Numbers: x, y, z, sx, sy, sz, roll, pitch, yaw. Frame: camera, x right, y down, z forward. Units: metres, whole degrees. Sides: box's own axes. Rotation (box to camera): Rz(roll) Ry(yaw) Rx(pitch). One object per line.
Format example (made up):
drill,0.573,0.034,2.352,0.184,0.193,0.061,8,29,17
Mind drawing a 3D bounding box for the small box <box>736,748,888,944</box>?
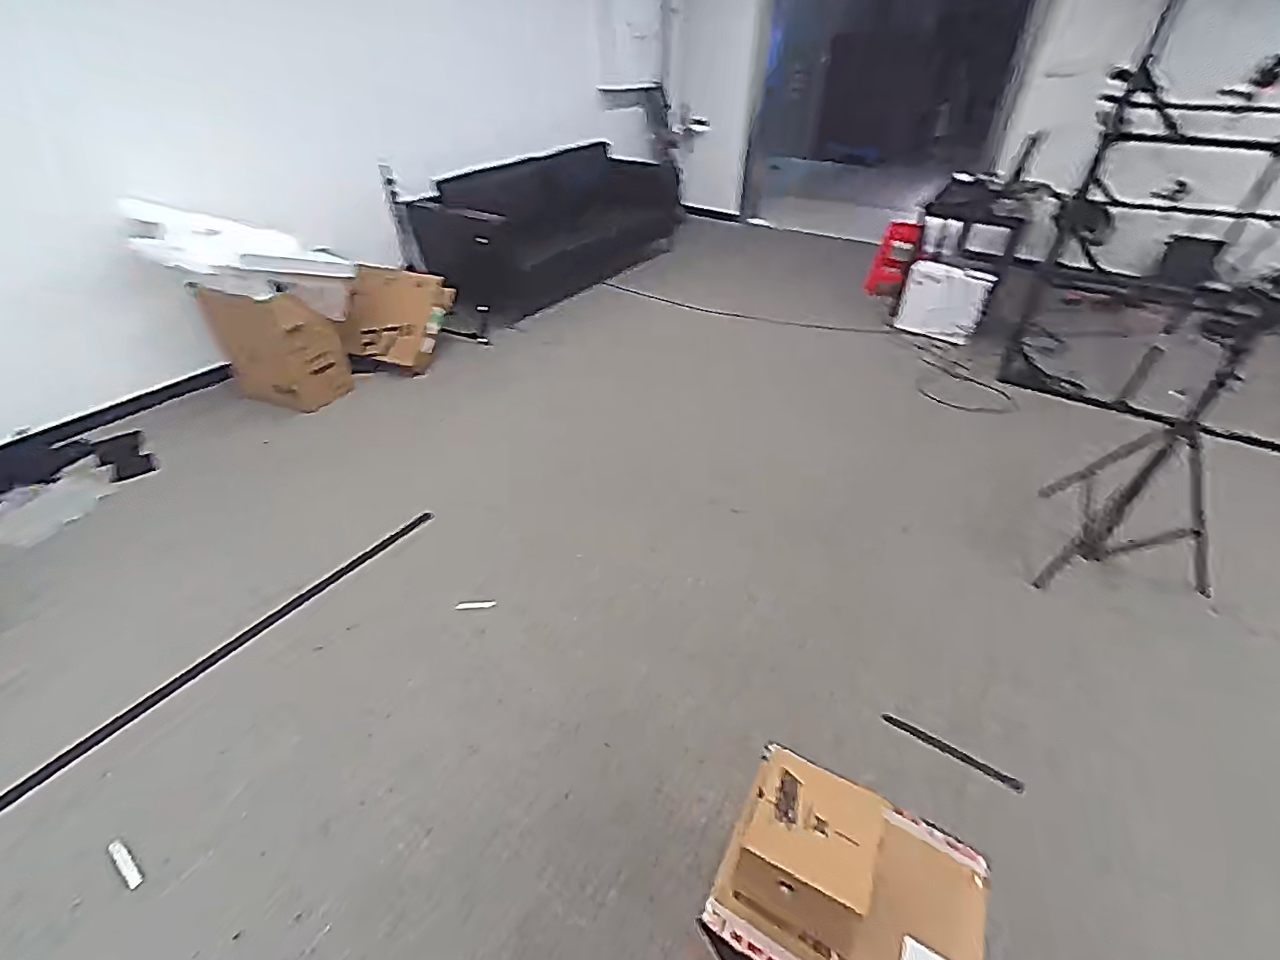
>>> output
small box,0.259,0.565,0.838,0.179,0.176,0.168,18,40,23
